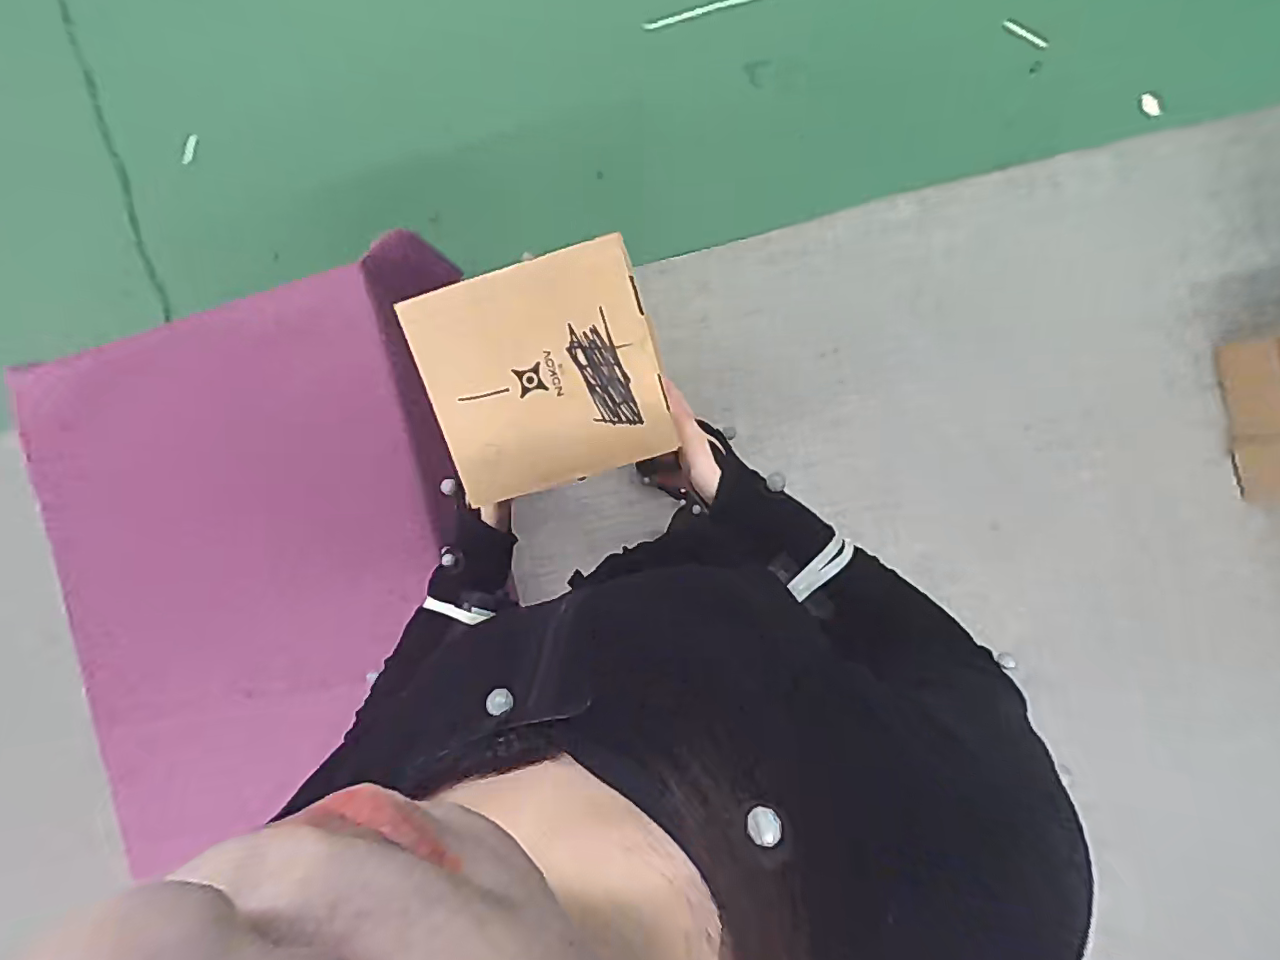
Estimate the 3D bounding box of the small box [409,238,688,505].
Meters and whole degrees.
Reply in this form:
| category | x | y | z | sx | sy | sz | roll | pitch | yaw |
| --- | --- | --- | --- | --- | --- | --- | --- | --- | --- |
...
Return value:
| category | x | y | z | sx | sy | sz | roll | pitch | yaw |
| --- | --- | --- | --- | --- | --- | --- | --- | --- | --- |
| small box | -0.065 | -0.096 | 0.483 | 0.179 | 0.176 | 0.168 | -15 | 103 | 5 |
